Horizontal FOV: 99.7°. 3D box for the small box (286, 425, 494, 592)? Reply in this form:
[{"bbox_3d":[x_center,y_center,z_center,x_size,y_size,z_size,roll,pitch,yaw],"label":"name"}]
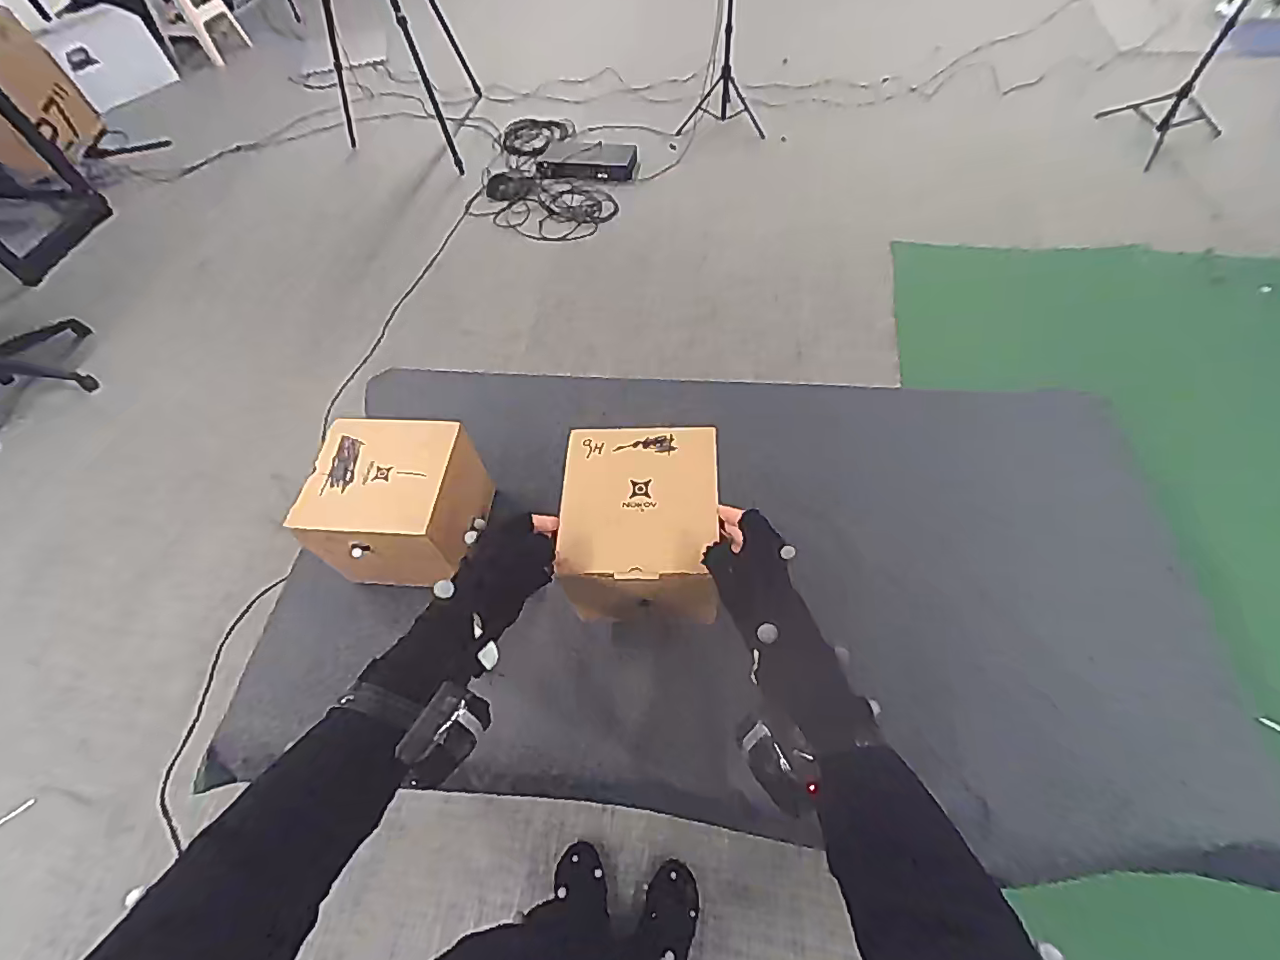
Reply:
[{"bbox_3d":[-0.318,0.043,0.730,0.179,0.176,0.168,3,57,4],"label":"small box"}]

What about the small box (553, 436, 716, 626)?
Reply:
[{"bbox_3d":[0.005,0.067,0.636,0.168,0.176,0.179,0,60,5],"label":"small box"}]
